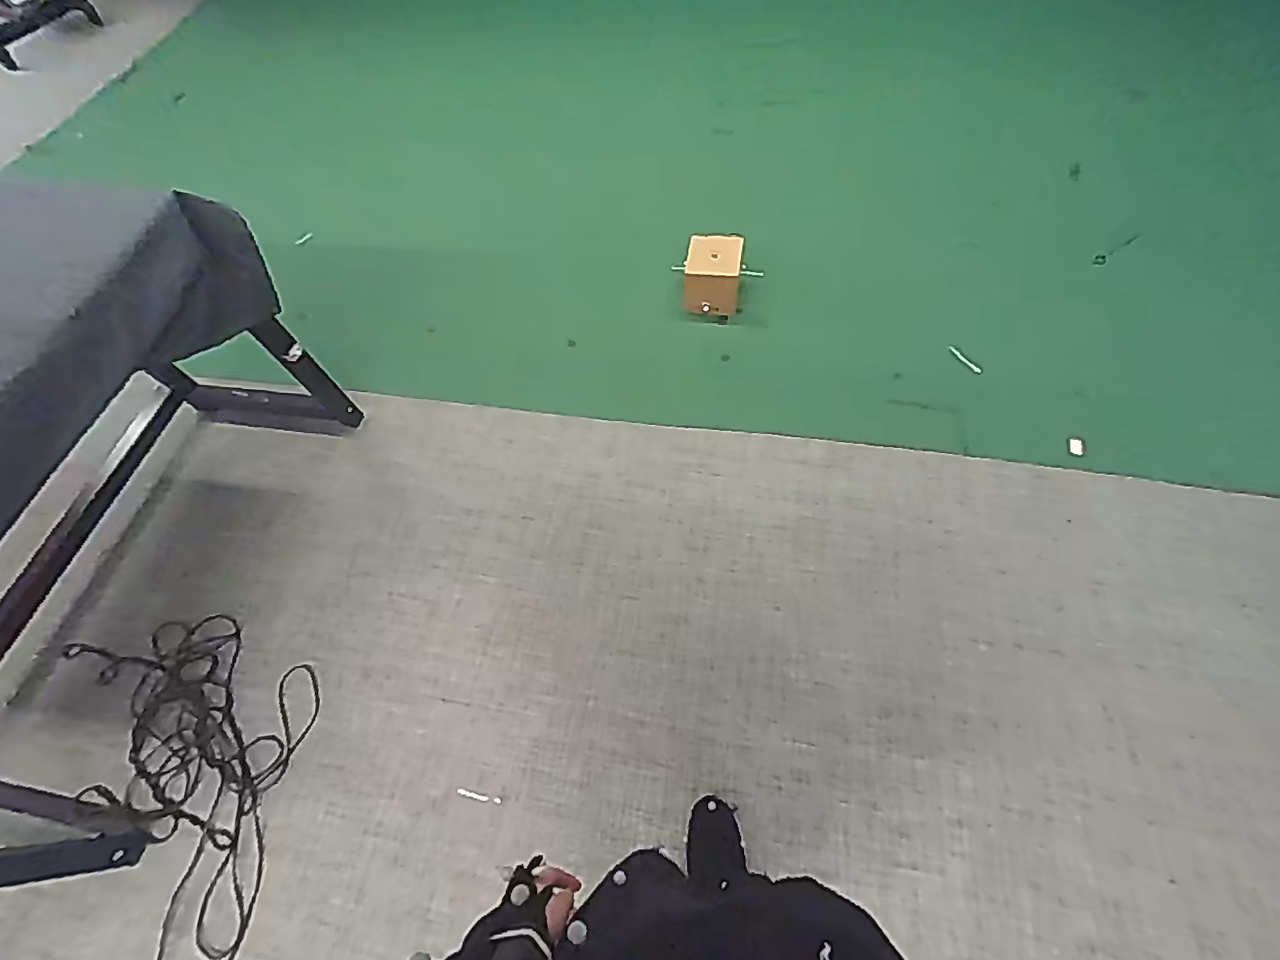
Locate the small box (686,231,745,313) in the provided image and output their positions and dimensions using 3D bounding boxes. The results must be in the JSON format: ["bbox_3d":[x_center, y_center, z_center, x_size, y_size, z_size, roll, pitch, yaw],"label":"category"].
[{"bbox_3d":[0.239,-0.664,1.729,0.168,0.176,0.179,6,64,9],"label":"small box"}]
